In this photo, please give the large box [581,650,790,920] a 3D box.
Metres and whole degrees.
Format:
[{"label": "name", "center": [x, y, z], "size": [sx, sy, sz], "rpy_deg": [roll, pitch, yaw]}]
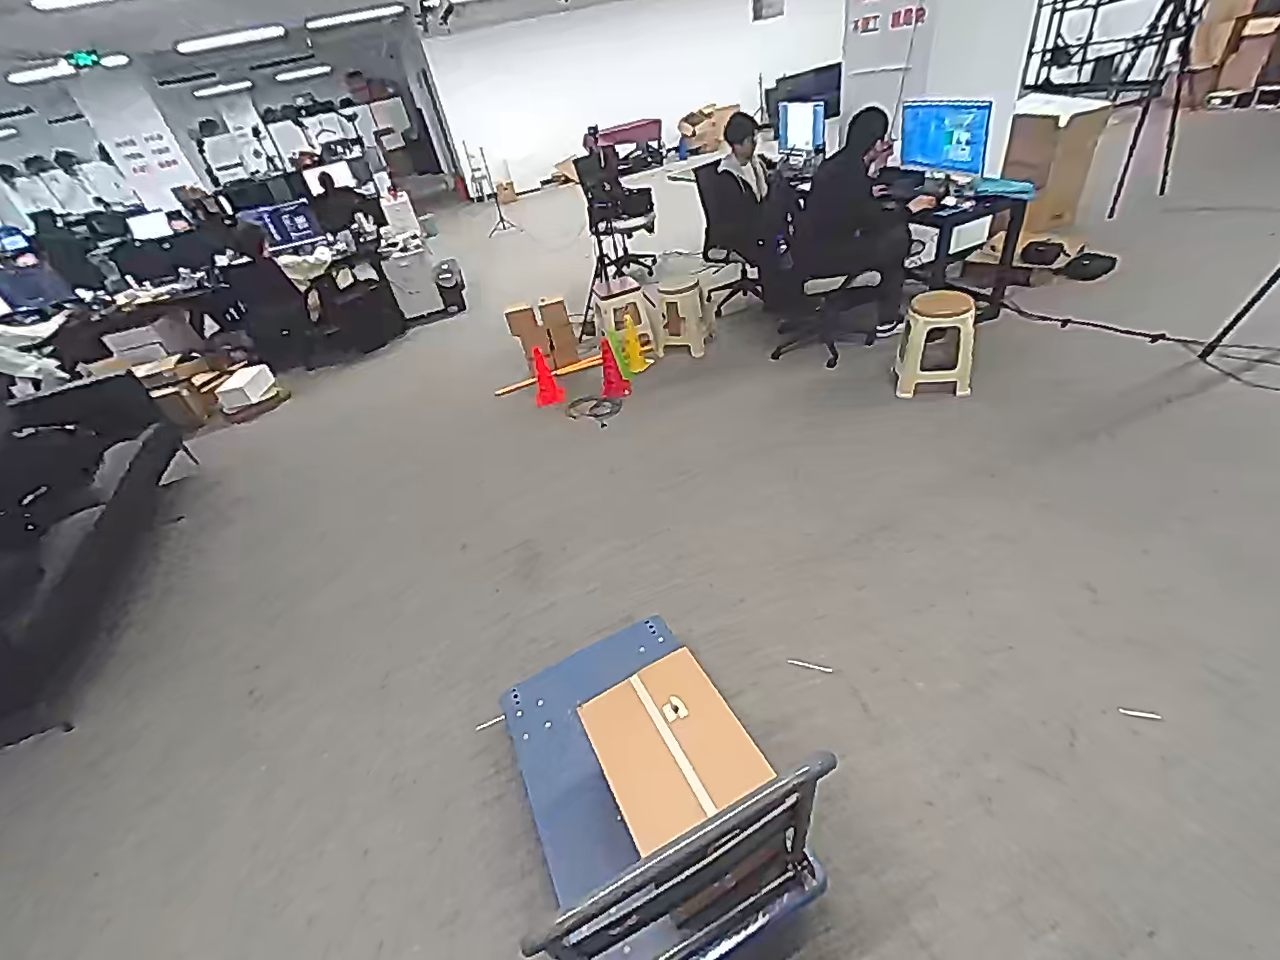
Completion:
[{"label": "large box", "center": [0.106, 0.704, 1.286], "size": [0.320, 0.320, 0.408], "rpy_deg": [-24, 38, -15]}]
